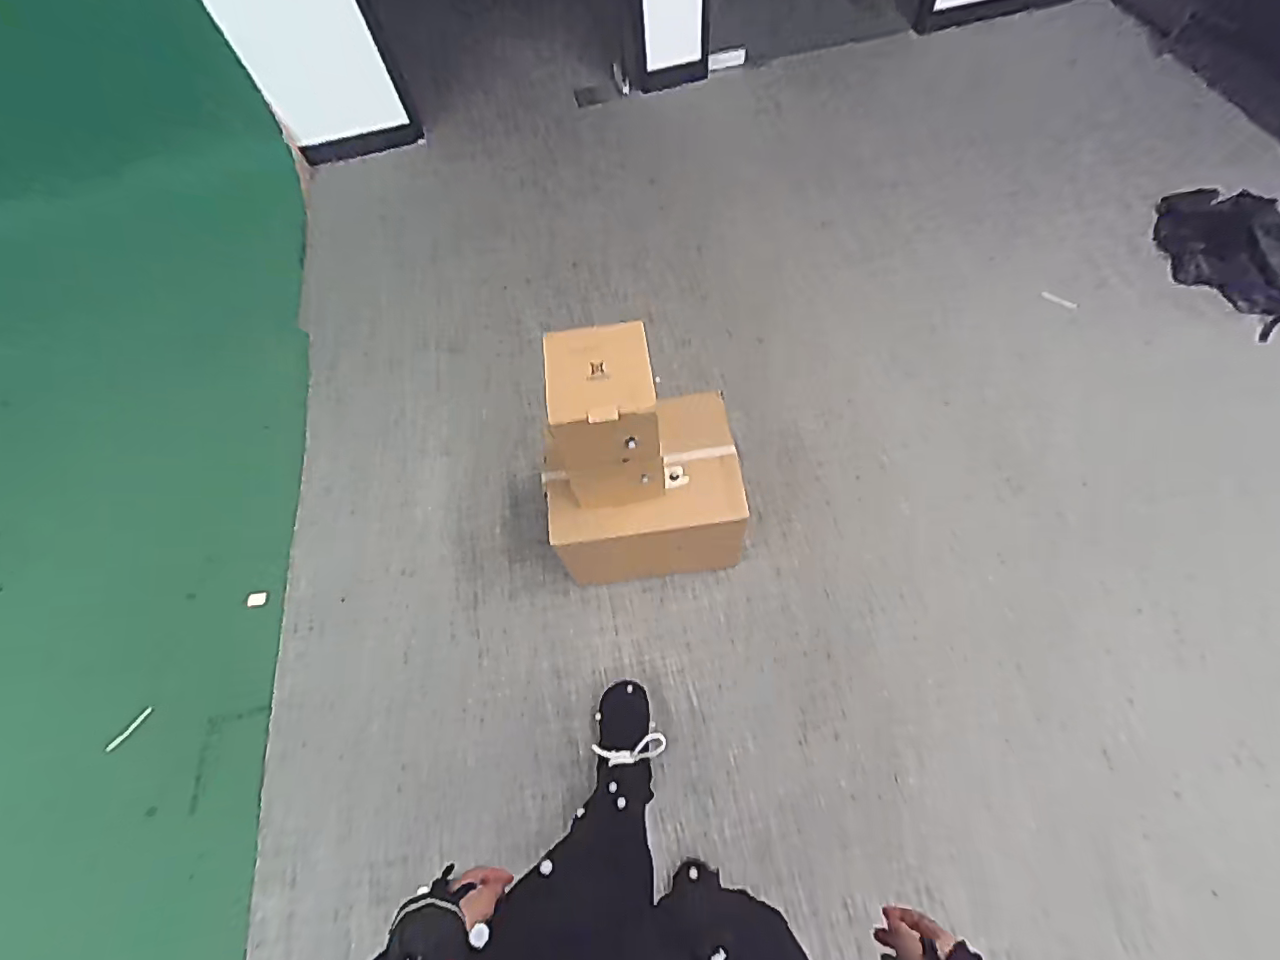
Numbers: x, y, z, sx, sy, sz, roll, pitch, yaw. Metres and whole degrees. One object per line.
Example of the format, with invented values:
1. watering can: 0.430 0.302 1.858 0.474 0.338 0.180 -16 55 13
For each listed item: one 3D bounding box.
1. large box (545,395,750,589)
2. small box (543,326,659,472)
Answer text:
1. large box: 0.011 0.041 1.269 0.408 0.320 0.320 -8 64 0
2. small box: -0.062 -0.125 0.901 0.168 0.176 0.179 -8 62 -1
